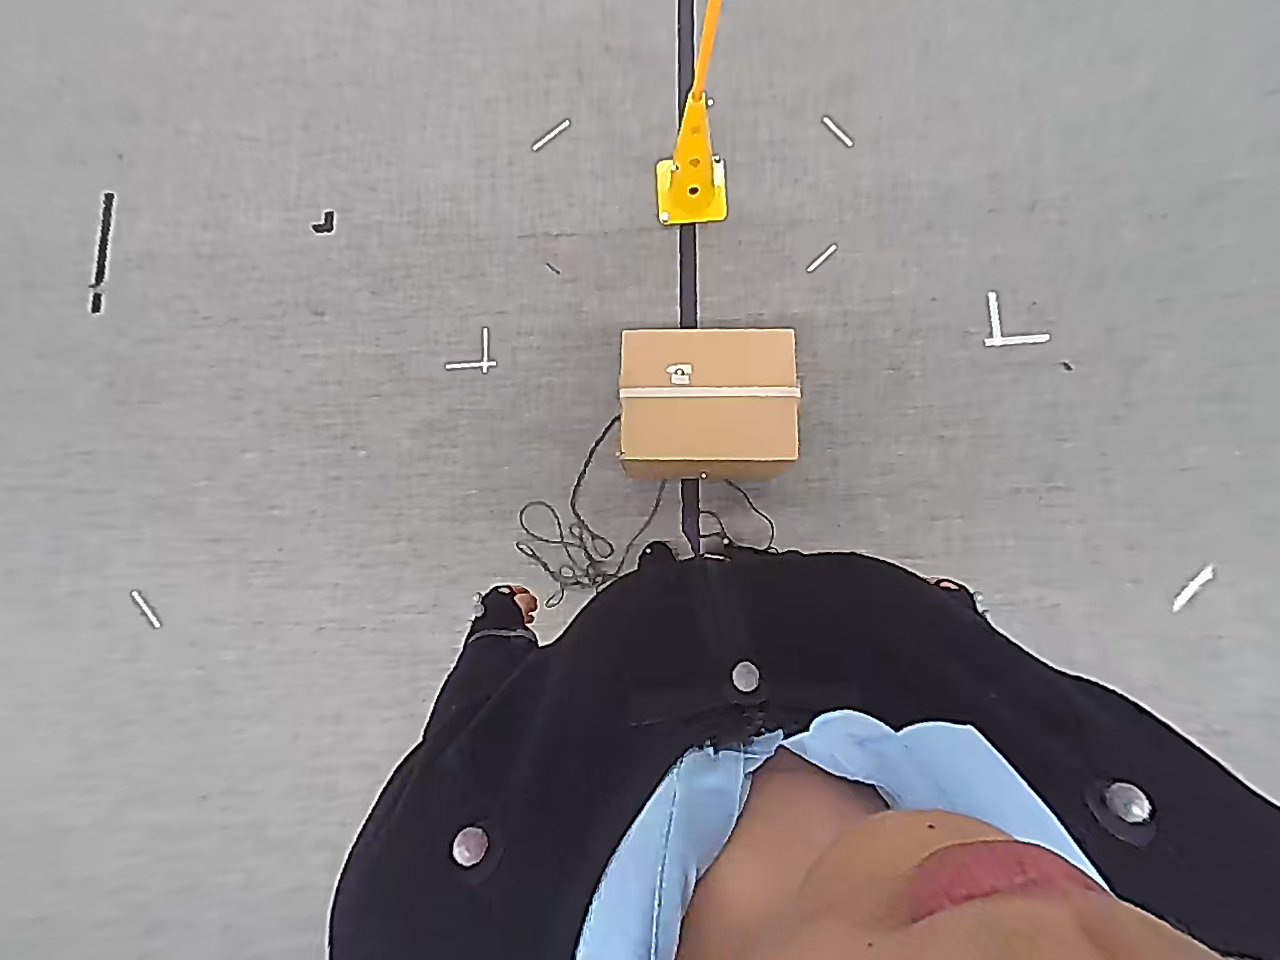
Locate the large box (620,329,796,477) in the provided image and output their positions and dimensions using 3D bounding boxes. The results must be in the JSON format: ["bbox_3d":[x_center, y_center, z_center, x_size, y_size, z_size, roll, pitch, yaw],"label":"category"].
[{"bbox_3d":[0.163,-0.179,1.400,0.408,0.320,0.320,0,81,3],"label":"large box"}]
